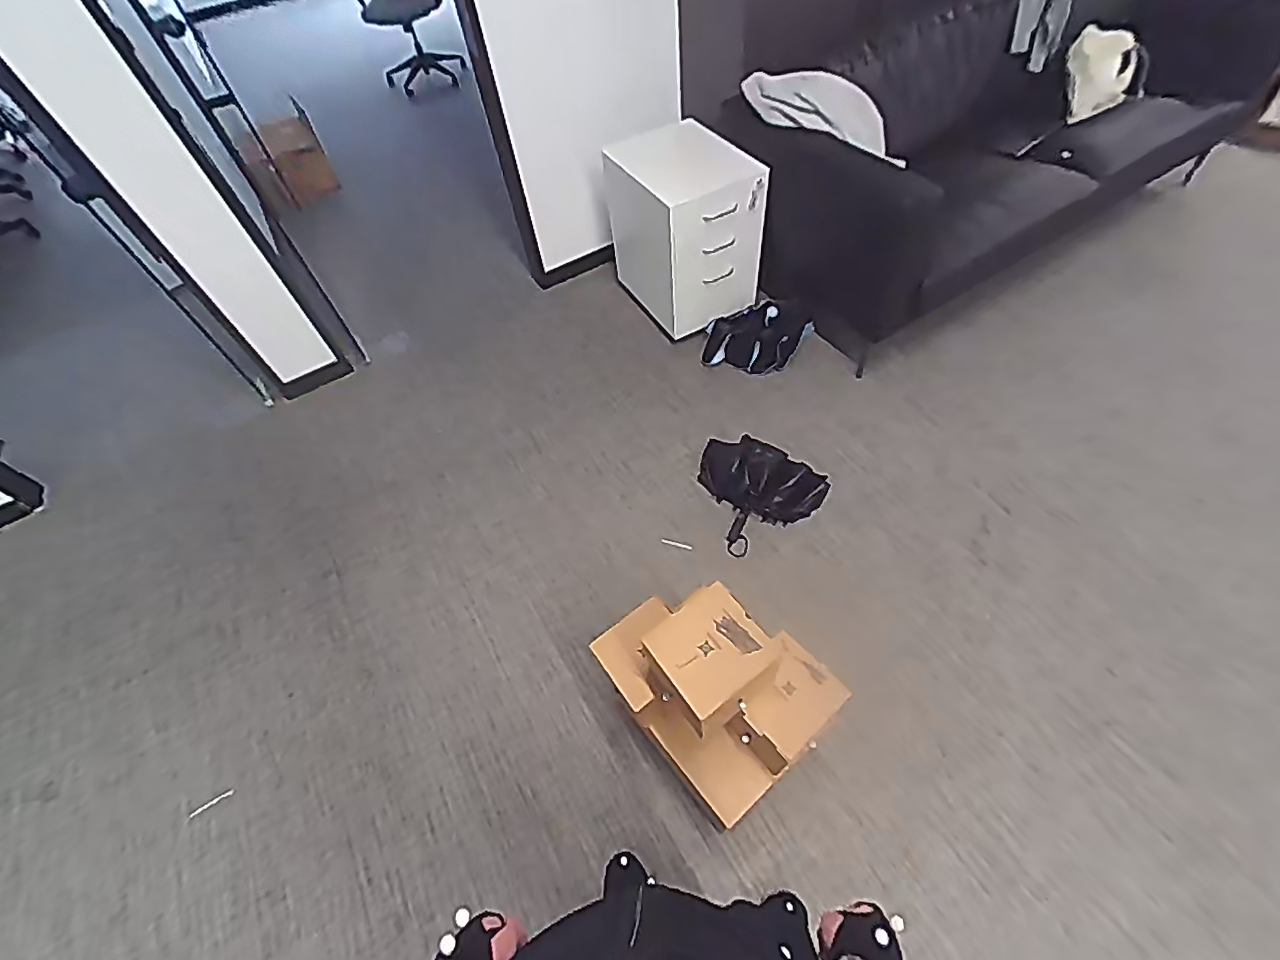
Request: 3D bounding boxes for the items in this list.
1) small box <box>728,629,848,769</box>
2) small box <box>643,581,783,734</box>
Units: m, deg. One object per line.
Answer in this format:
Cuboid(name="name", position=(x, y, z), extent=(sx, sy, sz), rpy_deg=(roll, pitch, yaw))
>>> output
Cuboid(name="small box", position=(0.274, 0.435, 1.062), extent=(0.179, 0.176, 0.168), rpy_deg=(-37, 59, -19))
Cuboid(name="small box", position=(0.126, 0.318, 0.959), extent=(0.179, 0.176, 0.168), rpy_deg=(-33, 57, -14))
